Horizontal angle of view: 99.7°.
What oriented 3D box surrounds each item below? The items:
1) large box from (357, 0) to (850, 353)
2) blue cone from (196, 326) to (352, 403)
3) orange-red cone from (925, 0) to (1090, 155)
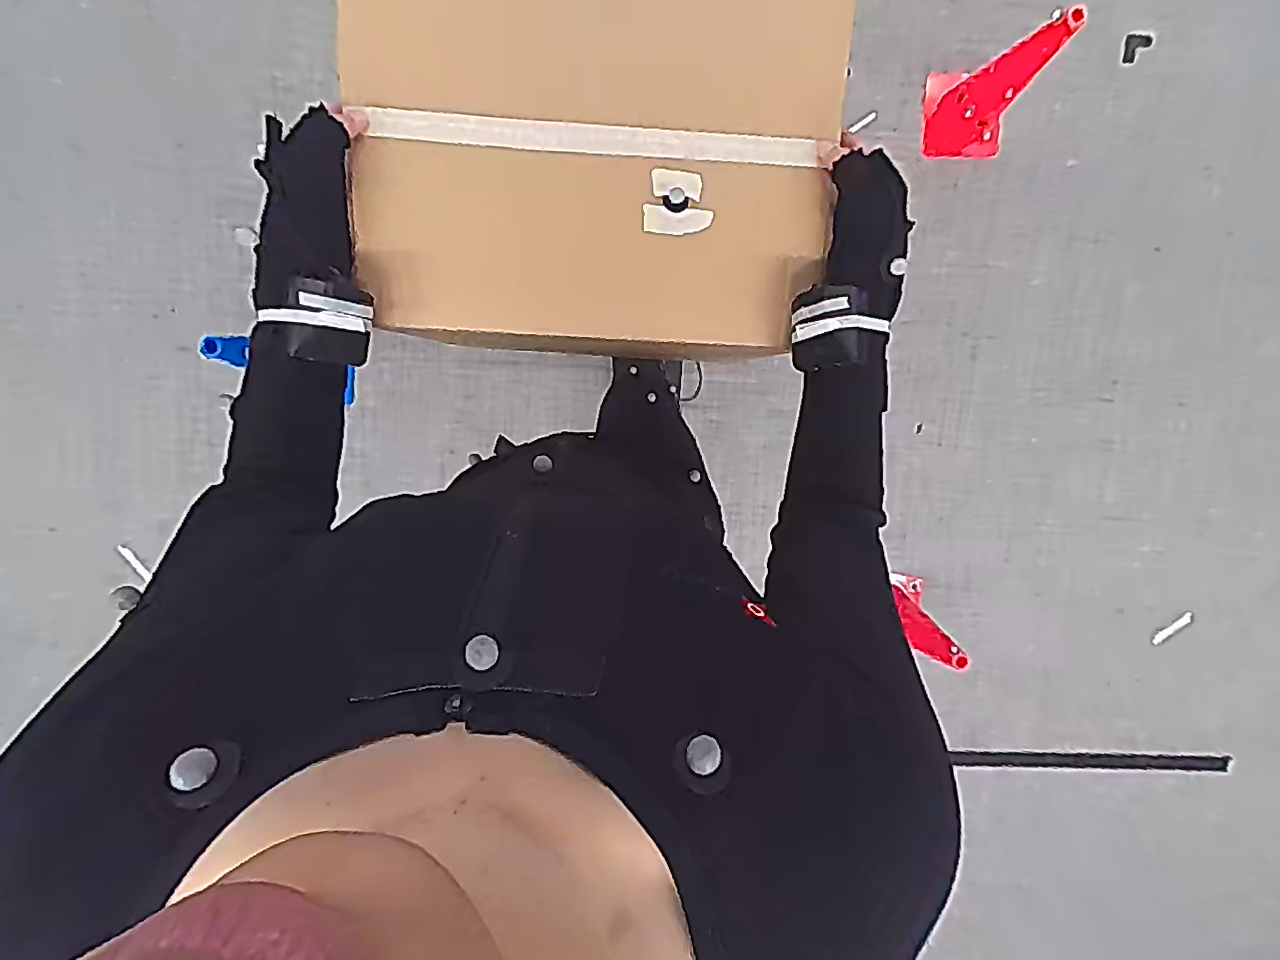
[{"bbox_3d":[-0.039,-0.313,0.597,0.408,0.320,0.320,2,100,-4],"label":"large box"},{"bbox_3d":[-0.842,-0.280,1.239,0.192,0.380,0.193,6,96,-1],"label":"blue cone"},{"bbox_3d":[0.830,-0.916,1.201,0.198,0.360,0.199,0,95,-3],"label":"orange-red cone"}]
